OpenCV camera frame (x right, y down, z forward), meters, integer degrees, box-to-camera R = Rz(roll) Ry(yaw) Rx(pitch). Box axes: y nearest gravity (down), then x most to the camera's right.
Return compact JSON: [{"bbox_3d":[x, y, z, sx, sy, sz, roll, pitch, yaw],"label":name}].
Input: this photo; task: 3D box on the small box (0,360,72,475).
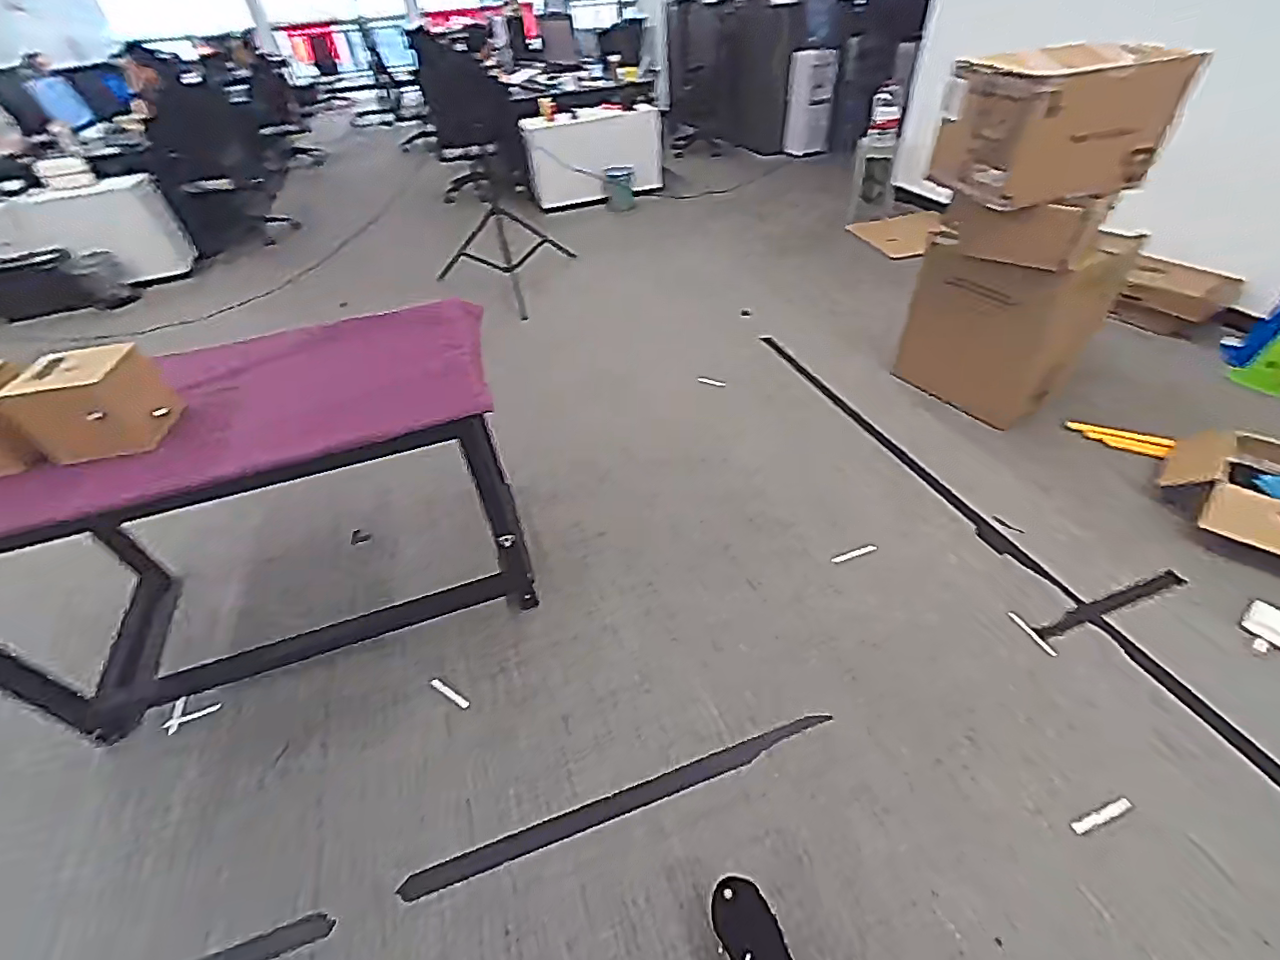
[{"bbox_3d":[-1.342,-0.117,1.104,0.168,0.176,0.179,-12,43,-8],"label":"small box"}]
